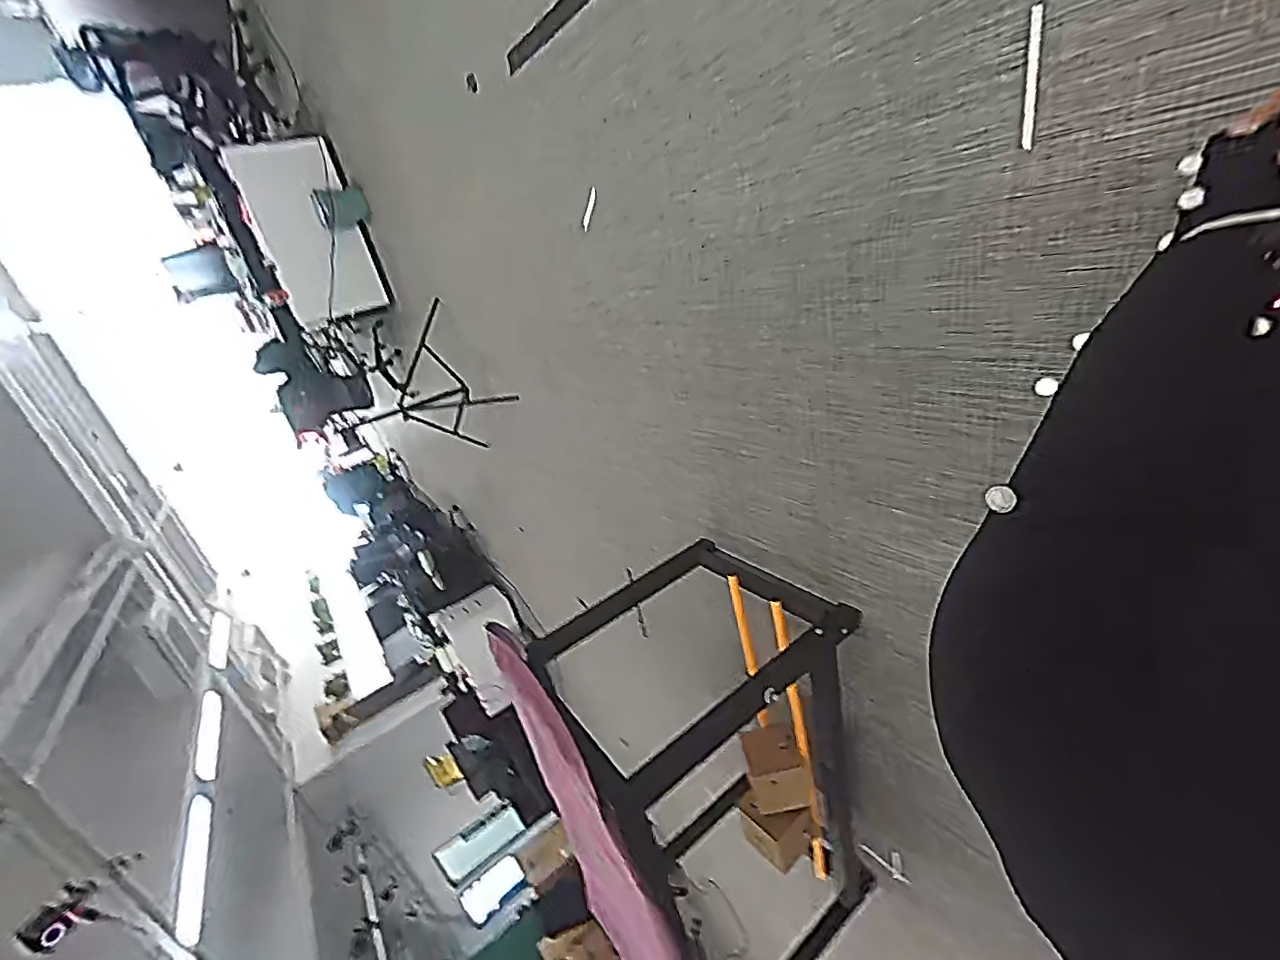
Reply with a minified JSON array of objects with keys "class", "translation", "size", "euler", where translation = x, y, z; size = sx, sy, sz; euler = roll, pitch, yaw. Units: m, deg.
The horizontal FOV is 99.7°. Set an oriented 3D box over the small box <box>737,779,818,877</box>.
[{"class":"small box","translation":[0.440,1.098,1.728],"size":[0.179,0.176,0.168],"euler":[16,128,53]}]
